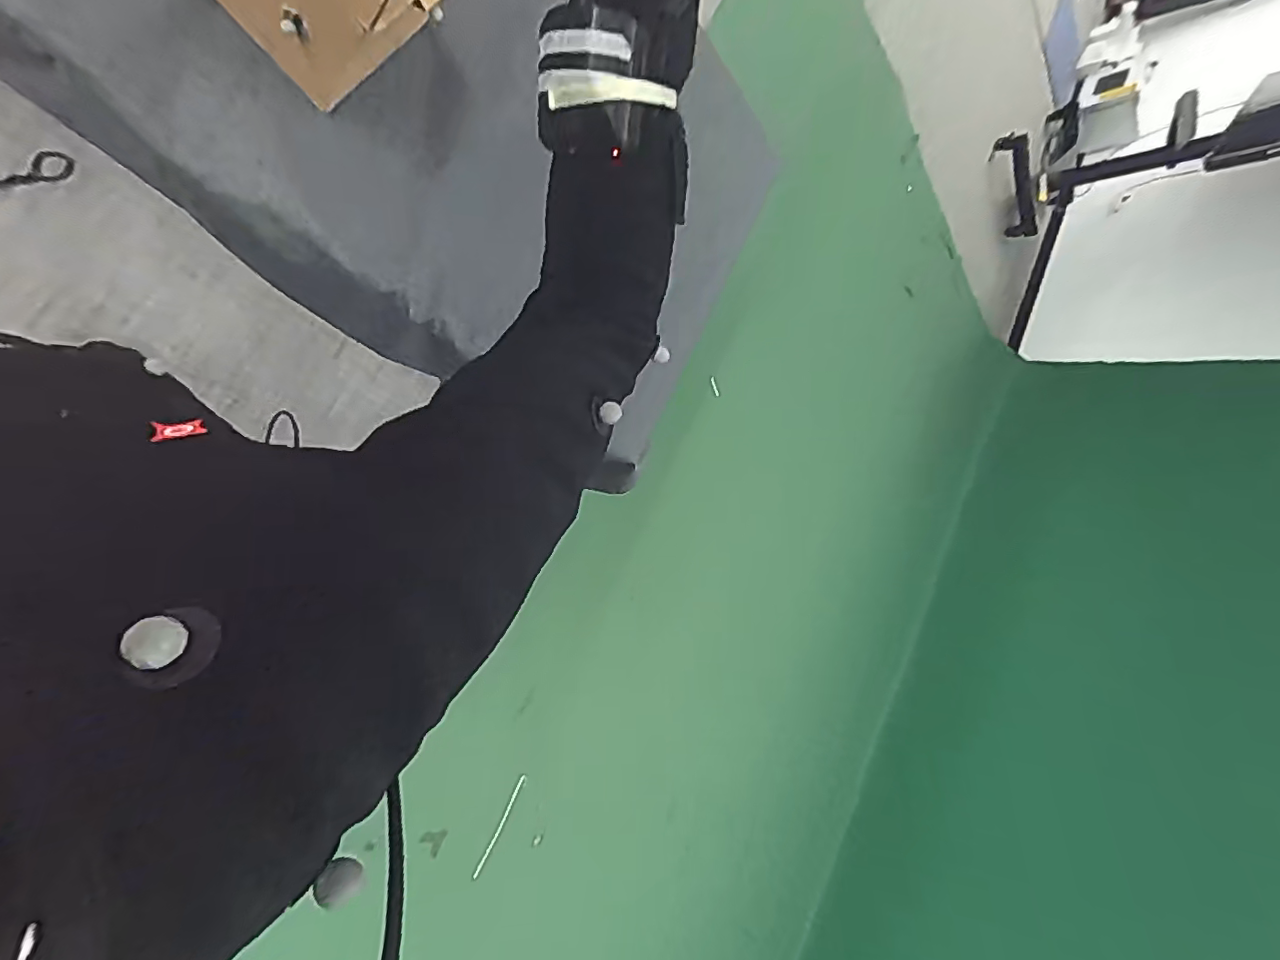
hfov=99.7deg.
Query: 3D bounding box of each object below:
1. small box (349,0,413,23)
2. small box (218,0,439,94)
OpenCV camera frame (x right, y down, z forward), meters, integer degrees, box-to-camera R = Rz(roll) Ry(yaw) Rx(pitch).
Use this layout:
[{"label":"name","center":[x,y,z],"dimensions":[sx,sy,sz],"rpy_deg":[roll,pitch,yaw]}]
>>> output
[{"label":"small box","center":[-0.162,-0.447,0.329],"dimensions":[0.179,0.176,0.168],"rpy_deg":[45,68,-37]},{"label":"small box","center":[-0.270,-0.466,0.450],"dimensions":[0.179,0.176,0.168],"rpy_deg":[45,69,-36]}]
